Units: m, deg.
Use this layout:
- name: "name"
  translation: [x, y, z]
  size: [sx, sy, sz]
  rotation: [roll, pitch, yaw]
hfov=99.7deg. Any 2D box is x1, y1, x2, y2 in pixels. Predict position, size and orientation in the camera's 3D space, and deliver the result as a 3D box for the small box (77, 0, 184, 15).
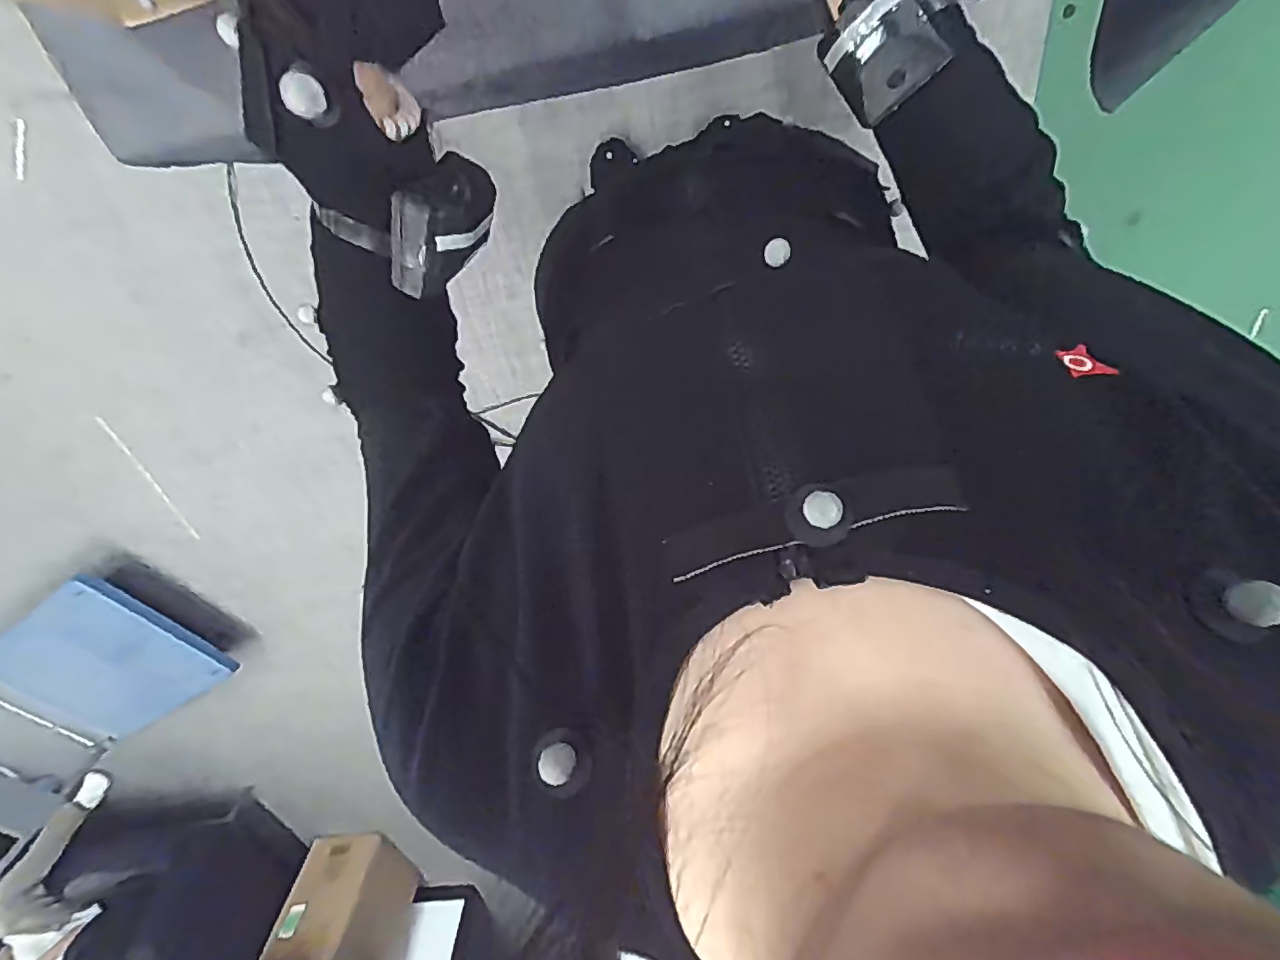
- name: "small box"
  translation: [-0.439, -0.487, 0.398]
  size: [0.168, 0.176, 0.179]
  rotation: [-10, 122, 8]
